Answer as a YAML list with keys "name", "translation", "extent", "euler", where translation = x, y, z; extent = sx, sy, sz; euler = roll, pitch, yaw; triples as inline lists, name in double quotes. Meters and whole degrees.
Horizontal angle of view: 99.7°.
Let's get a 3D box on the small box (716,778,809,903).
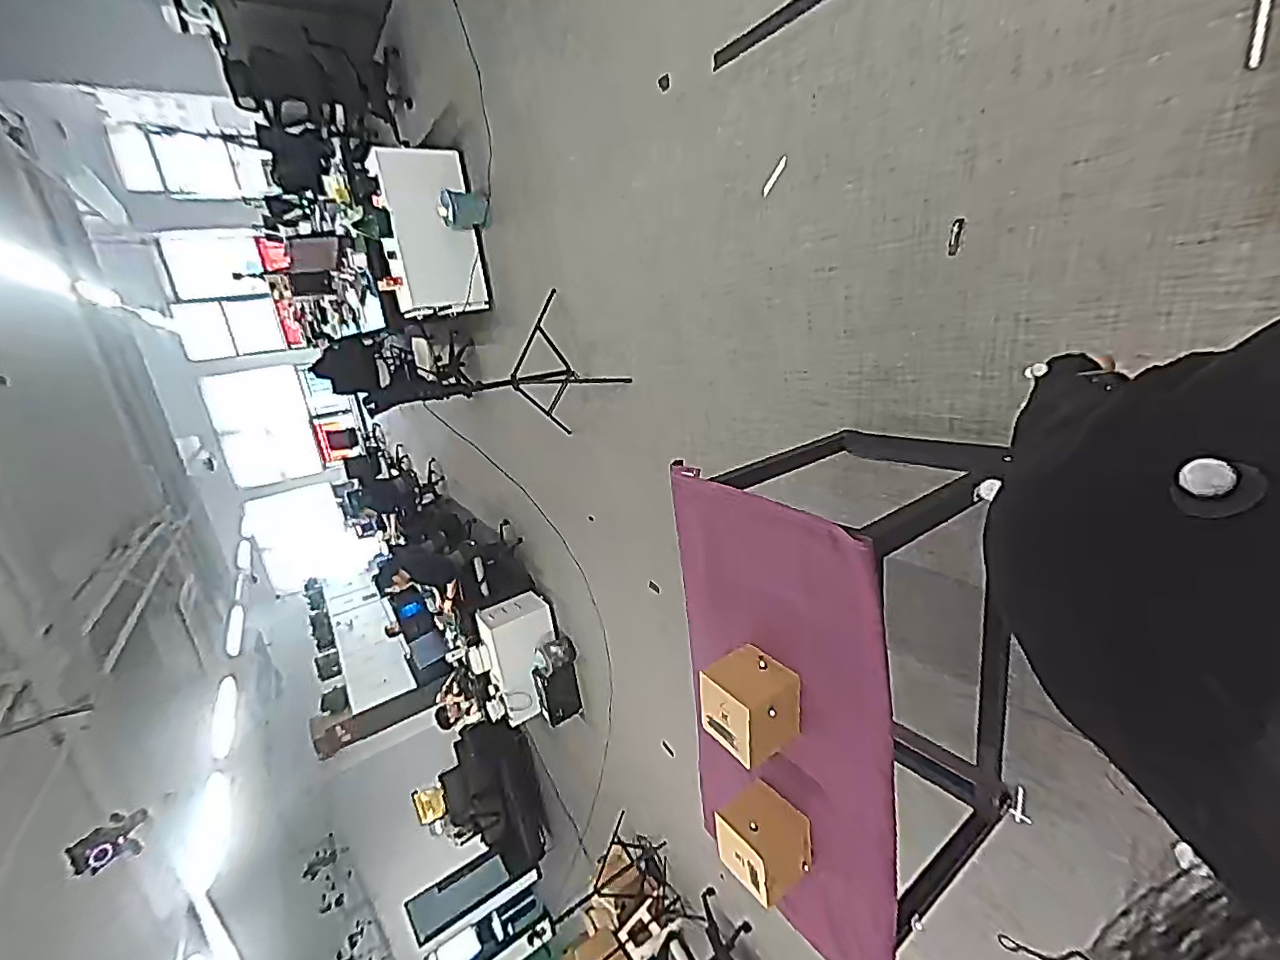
- name: "small box"
  translation: [0.324, 0.925, 1.407]
  extent: [0.179, 0.176, 0.168]
  euler: [18, 120, 54]
